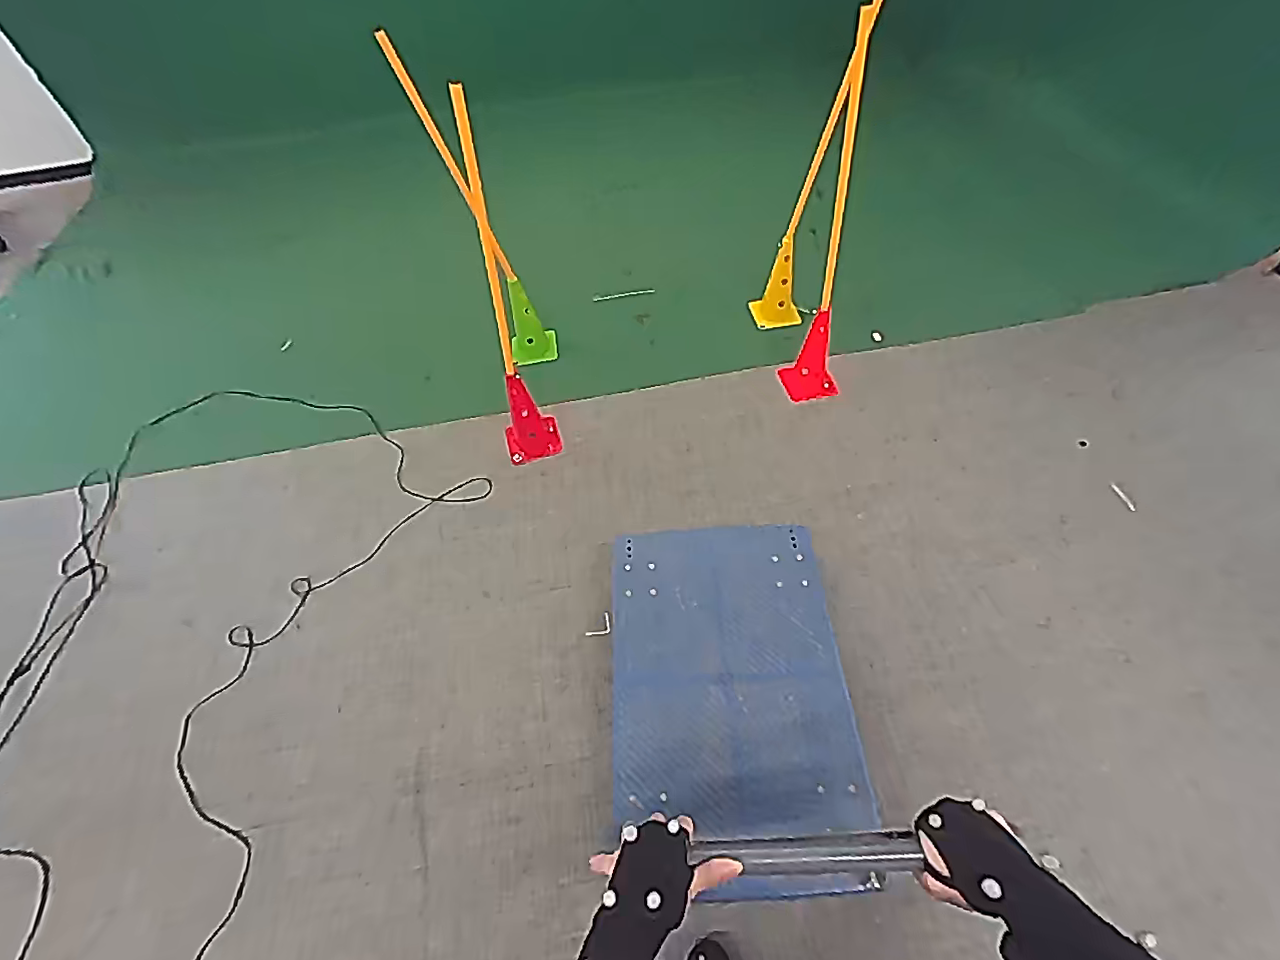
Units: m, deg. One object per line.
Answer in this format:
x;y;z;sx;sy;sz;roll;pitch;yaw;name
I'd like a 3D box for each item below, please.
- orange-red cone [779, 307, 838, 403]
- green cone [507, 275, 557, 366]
0.664;-0.492;2.041;0.198;0.360;0.199;-9;52;-3;orange-red cone
-0.486;-0.690;2.276;0.200;0.368;0.202;-10;52;-2;green cone
